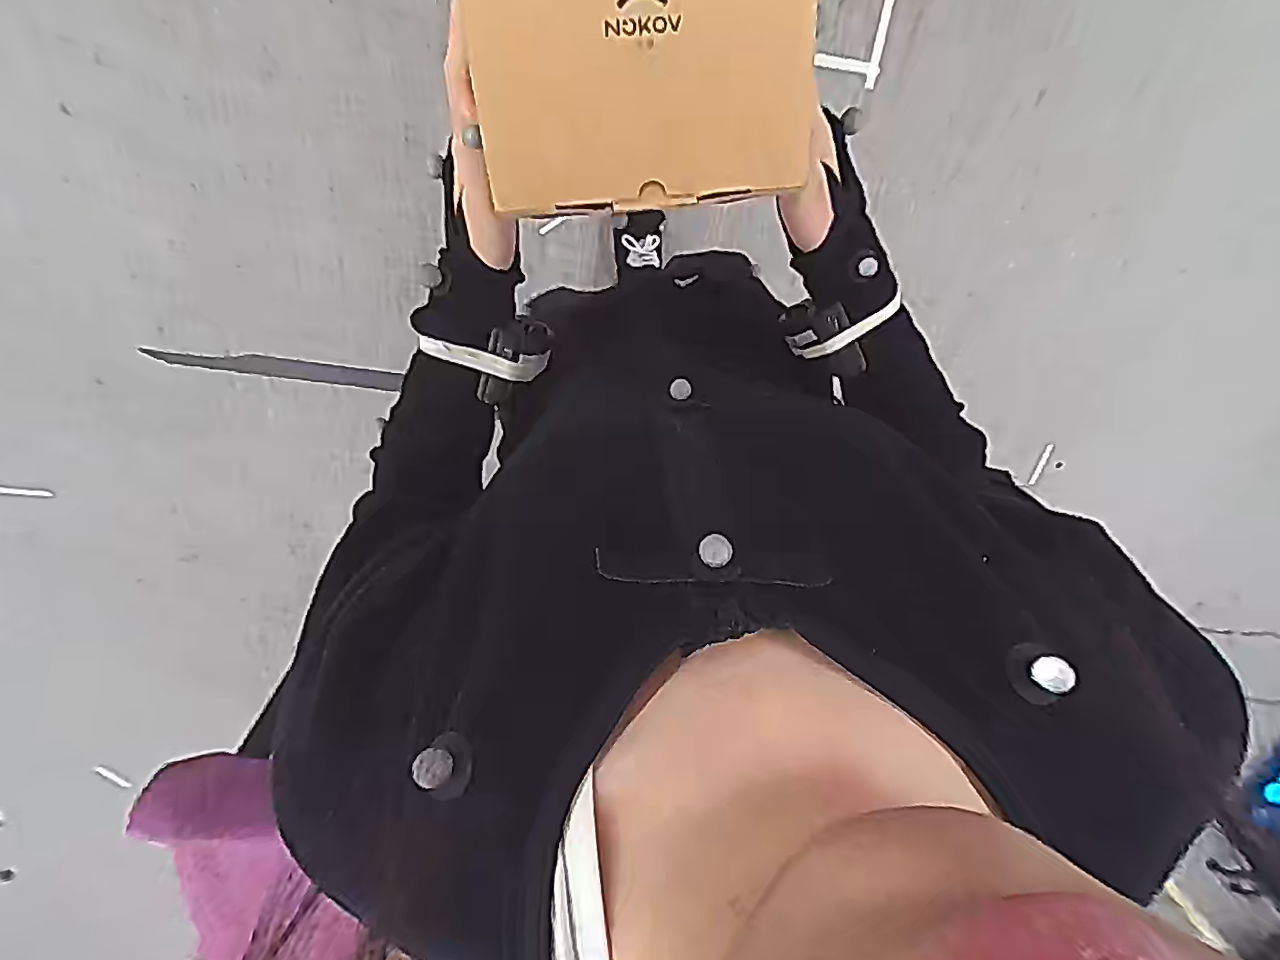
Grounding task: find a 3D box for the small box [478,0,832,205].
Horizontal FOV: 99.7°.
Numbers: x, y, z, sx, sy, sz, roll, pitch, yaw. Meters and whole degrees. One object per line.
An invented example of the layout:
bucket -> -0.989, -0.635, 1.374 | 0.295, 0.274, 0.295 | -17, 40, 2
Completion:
small box -> -0.001, -0.263, 0.312 | 0.168, 0.176, 0.179 | -7, 118, -2
